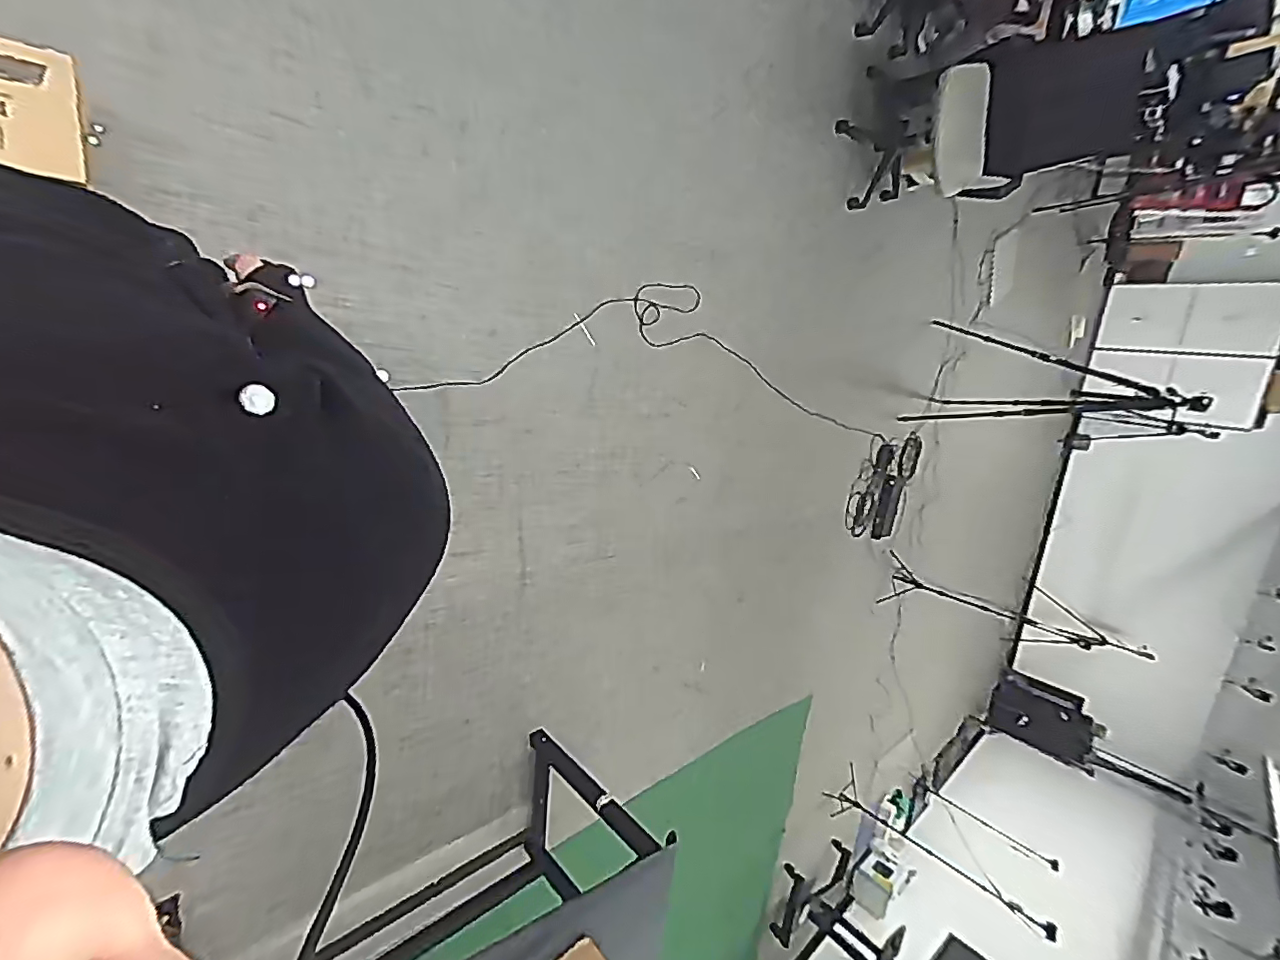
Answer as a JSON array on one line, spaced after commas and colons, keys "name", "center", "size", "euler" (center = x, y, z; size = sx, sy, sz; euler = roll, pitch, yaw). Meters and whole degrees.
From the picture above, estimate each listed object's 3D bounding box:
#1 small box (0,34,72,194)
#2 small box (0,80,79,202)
[{"name": "small box", "center": [-0.969, -0.547, 0.798], "size": [0.168, 0.176, 0.179], "euler": [-6, 108, -43]}, {"name": "small box", "center": [-1.077, -0.592, 0.914], "size": [0.168, 0.176, 0.179], "euler": [-5, 108, -43]}]
